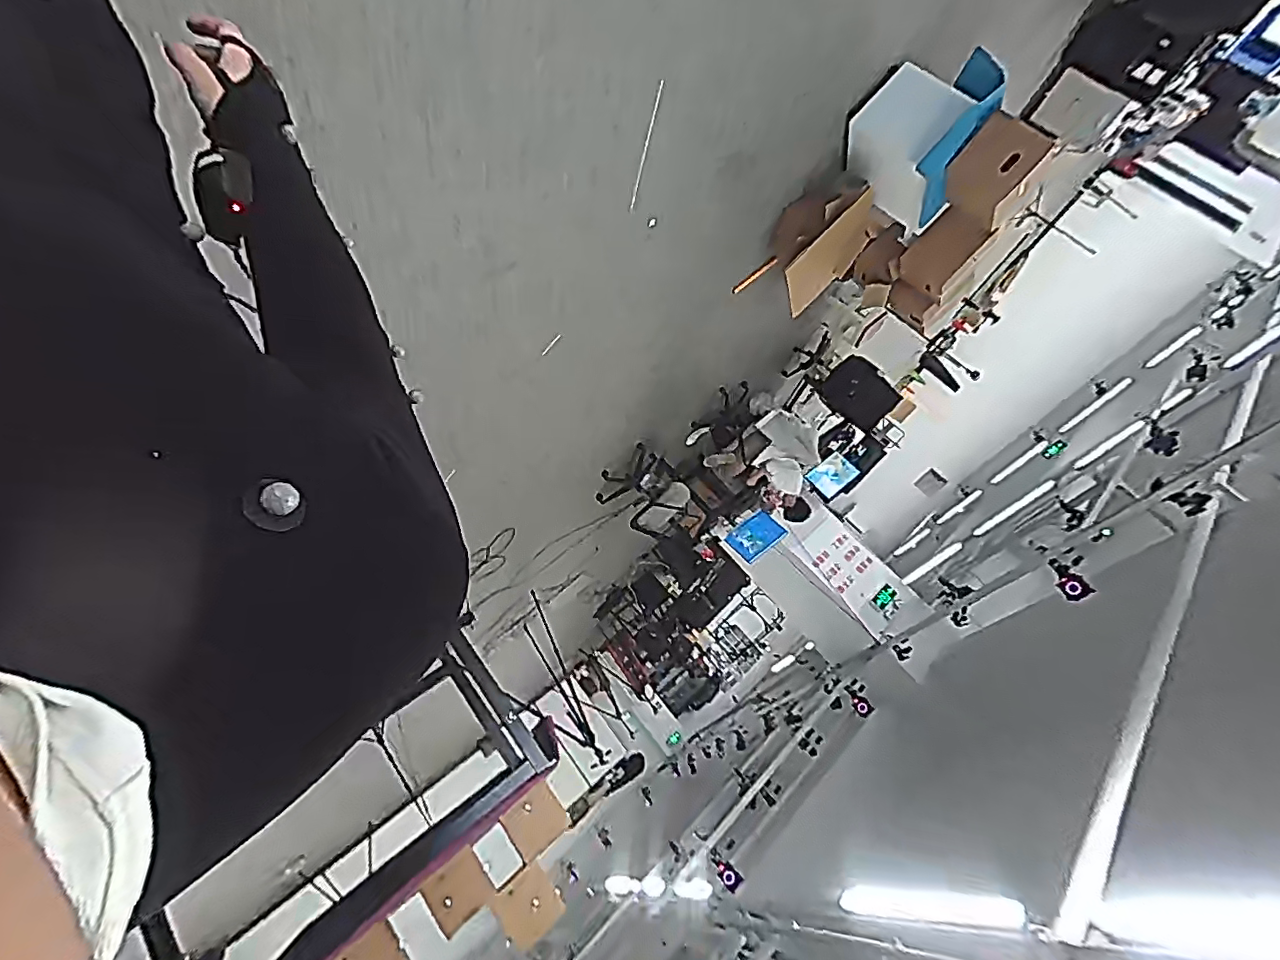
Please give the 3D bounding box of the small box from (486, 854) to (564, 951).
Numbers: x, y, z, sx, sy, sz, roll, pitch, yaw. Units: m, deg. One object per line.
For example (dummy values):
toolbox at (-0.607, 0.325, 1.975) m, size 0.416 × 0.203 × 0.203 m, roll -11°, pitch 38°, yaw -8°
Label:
small box at (-0.359, 1.283, 1.657) m, size 0.168 × 0.176 × 0.179 m, roll -31°, pitch 160°, yaw -33°

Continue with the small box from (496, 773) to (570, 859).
small box at (-0.356, 1.102, 1.773) m, size 0.179 × 0.176 × 0.168 m, roll -30°, pitch 160°, yaw -30°

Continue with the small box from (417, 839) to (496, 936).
small box at (-0.557, 1.220, 1.630) m, size 0.168 × 0.176 × 0.179 m, roll -30°, pitch 160°, yaw -34°
